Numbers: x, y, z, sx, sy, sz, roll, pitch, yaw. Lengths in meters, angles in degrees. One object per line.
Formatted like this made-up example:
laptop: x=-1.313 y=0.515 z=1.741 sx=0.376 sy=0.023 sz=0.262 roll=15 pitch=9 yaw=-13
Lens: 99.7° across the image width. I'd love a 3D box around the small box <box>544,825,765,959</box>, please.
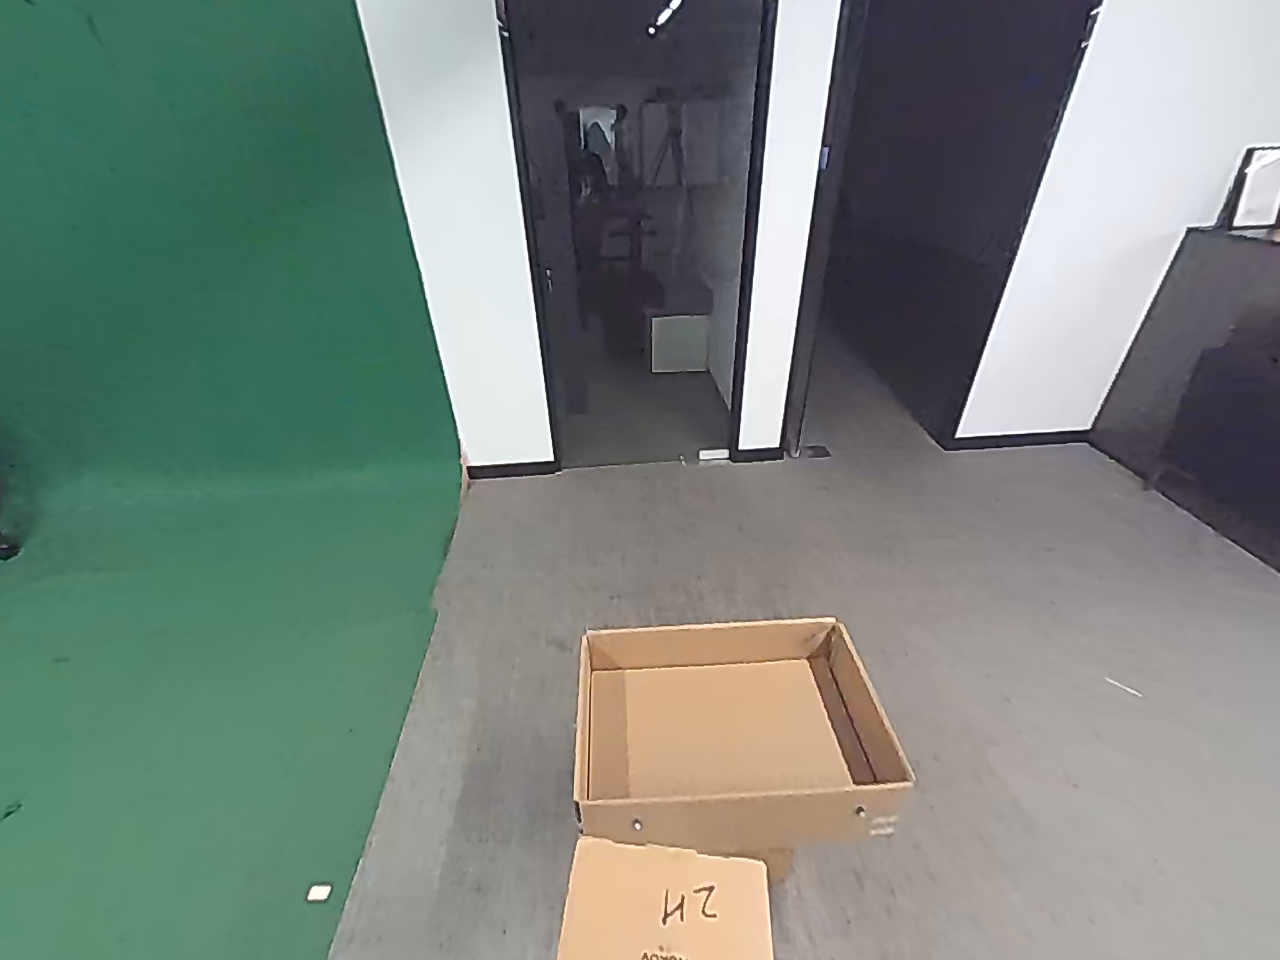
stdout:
small box: x=0.007 y=0.423 z=0.440 sx=0.168 sy=0.176 sz=0.179 roll=6 pitch=35 yaw=3
